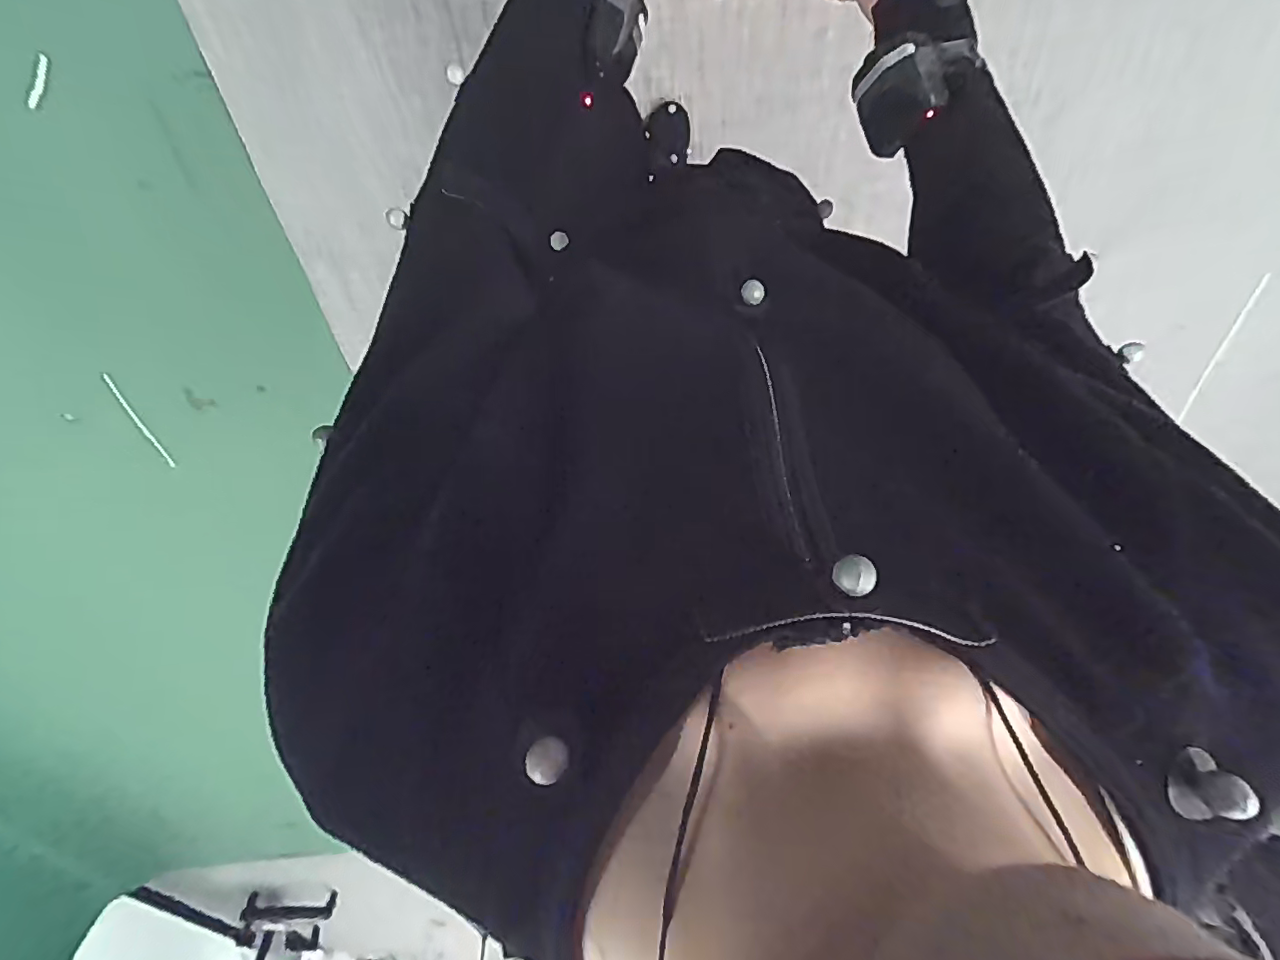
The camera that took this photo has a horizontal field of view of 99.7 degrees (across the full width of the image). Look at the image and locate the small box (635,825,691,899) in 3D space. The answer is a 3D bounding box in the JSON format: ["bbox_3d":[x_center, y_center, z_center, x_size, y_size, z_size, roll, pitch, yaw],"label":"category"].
[{"bbox_3d":[0.070,1.227,1.724,0.168,0.176,0.179,-4,128,-1],"label":"small box"}]
